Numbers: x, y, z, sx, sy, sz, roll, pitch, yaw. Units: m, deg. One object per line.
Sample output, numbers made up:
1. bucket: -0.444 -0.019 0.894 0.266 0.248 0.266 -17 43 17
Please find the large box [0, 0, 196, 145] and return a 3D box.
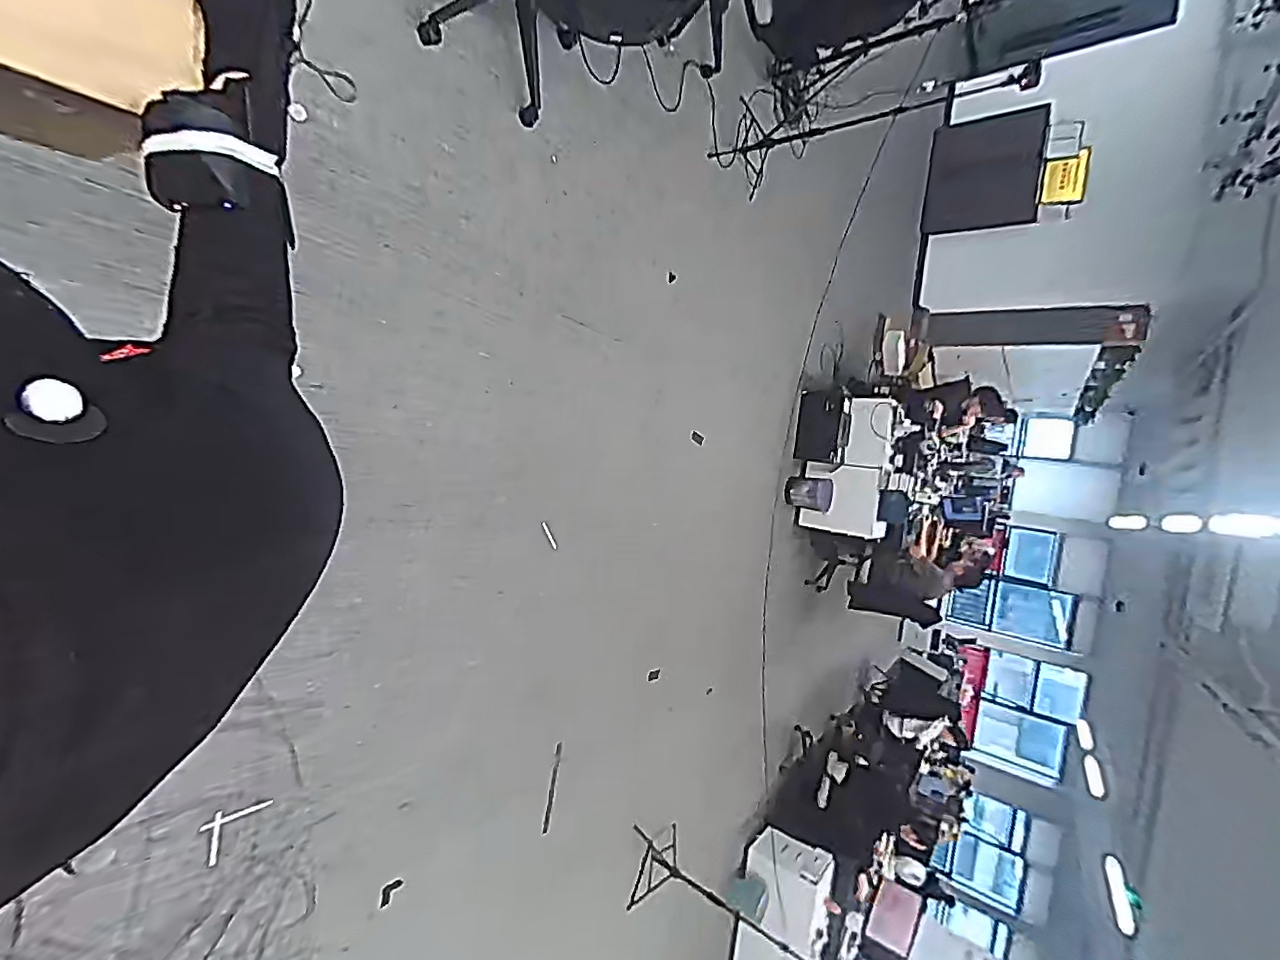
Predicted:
1. large box: -0.539 -0.437 0.289 0.408 0.320 0.320 -6 111 -56
